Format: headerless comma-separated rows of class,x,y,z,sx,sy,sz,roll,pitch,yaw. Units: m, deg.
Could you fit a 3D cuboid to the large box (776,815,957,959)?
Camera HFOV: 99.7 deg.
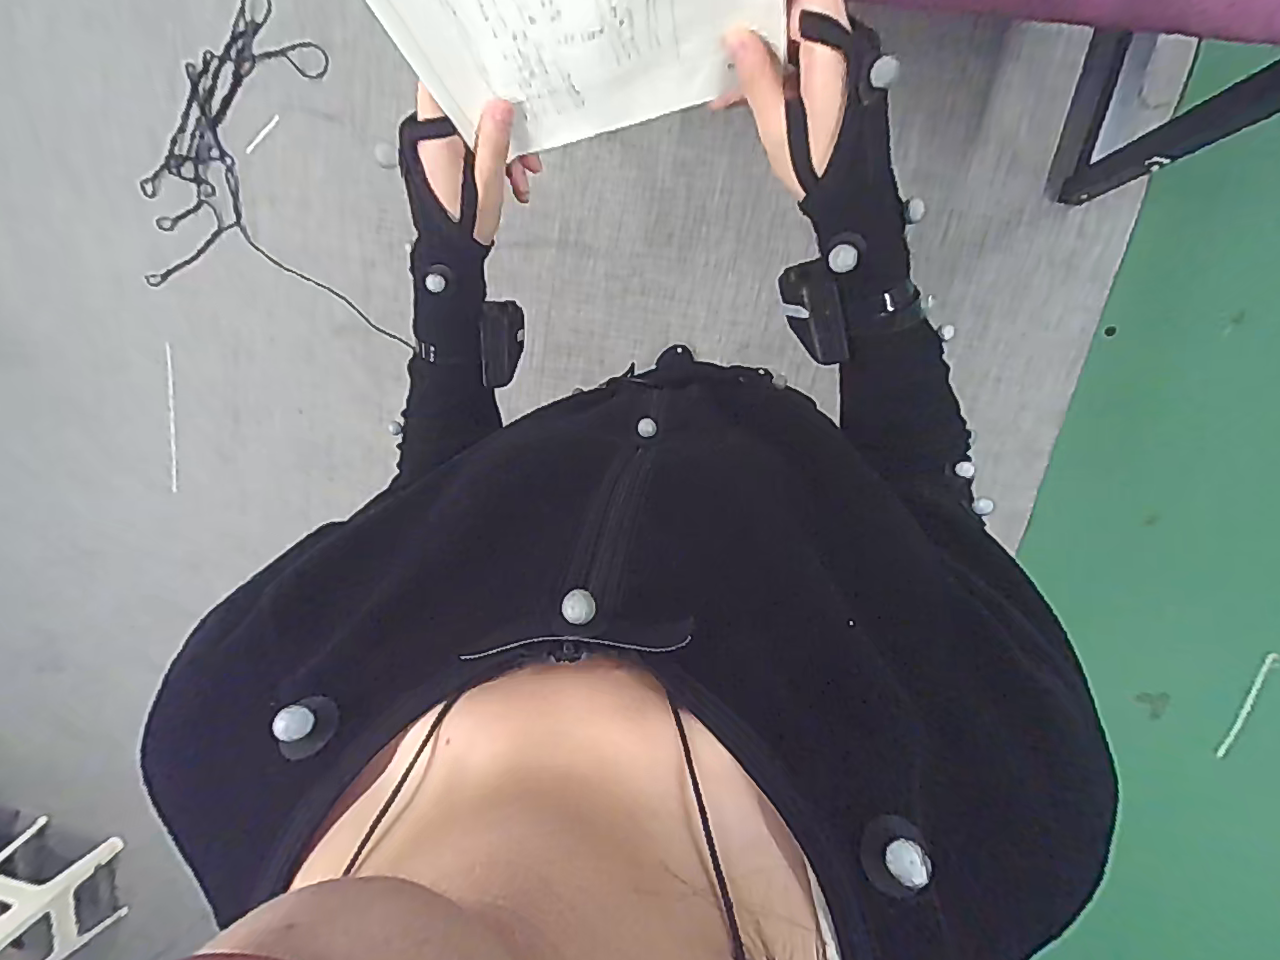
large box,0.610,1.197,1.523,0.408,0.320,0.320,-2,102,7
